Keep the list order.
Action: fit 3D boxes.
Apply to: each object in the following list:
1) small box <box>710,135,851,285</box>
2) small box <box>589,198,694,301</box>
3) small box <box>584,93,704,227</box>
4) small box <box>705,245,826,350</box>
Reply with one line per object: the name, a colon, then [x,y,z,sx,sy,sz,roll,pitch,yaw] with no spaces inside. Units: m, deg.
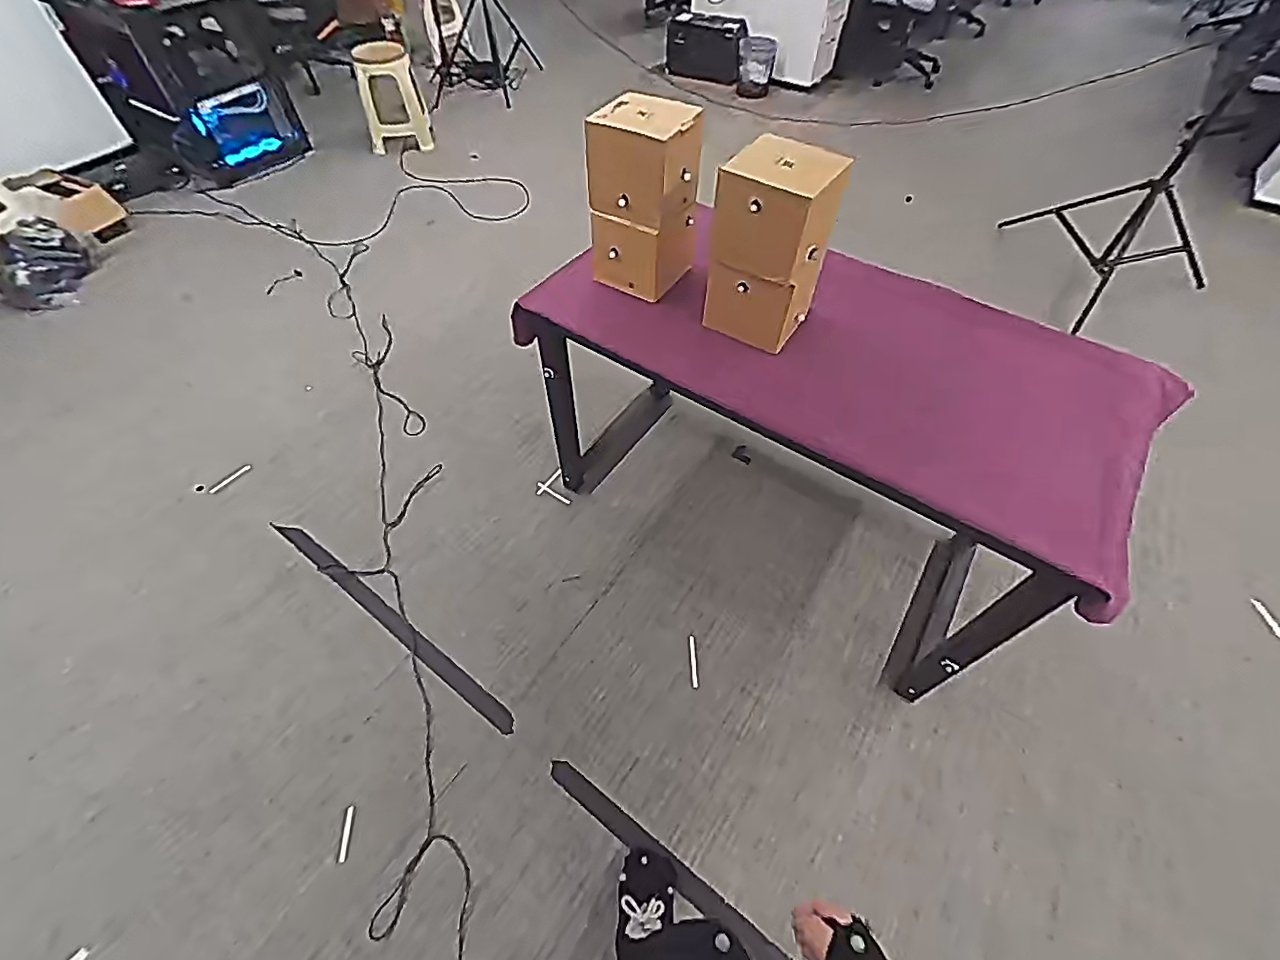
small box: [0.243,-0.484,0.977,0.179,0.176,0.168,31,61,19]
small box: [0.006,-0.532,1.210,0.168,0.176,0.179,27,57,18]
small box: [0.008,-0.636,1.083,0.179,0.176,0.168,26,57,16]
small box: [0.250,-0.397,1.114,0.179,0.176,0.168,29,59,18]
